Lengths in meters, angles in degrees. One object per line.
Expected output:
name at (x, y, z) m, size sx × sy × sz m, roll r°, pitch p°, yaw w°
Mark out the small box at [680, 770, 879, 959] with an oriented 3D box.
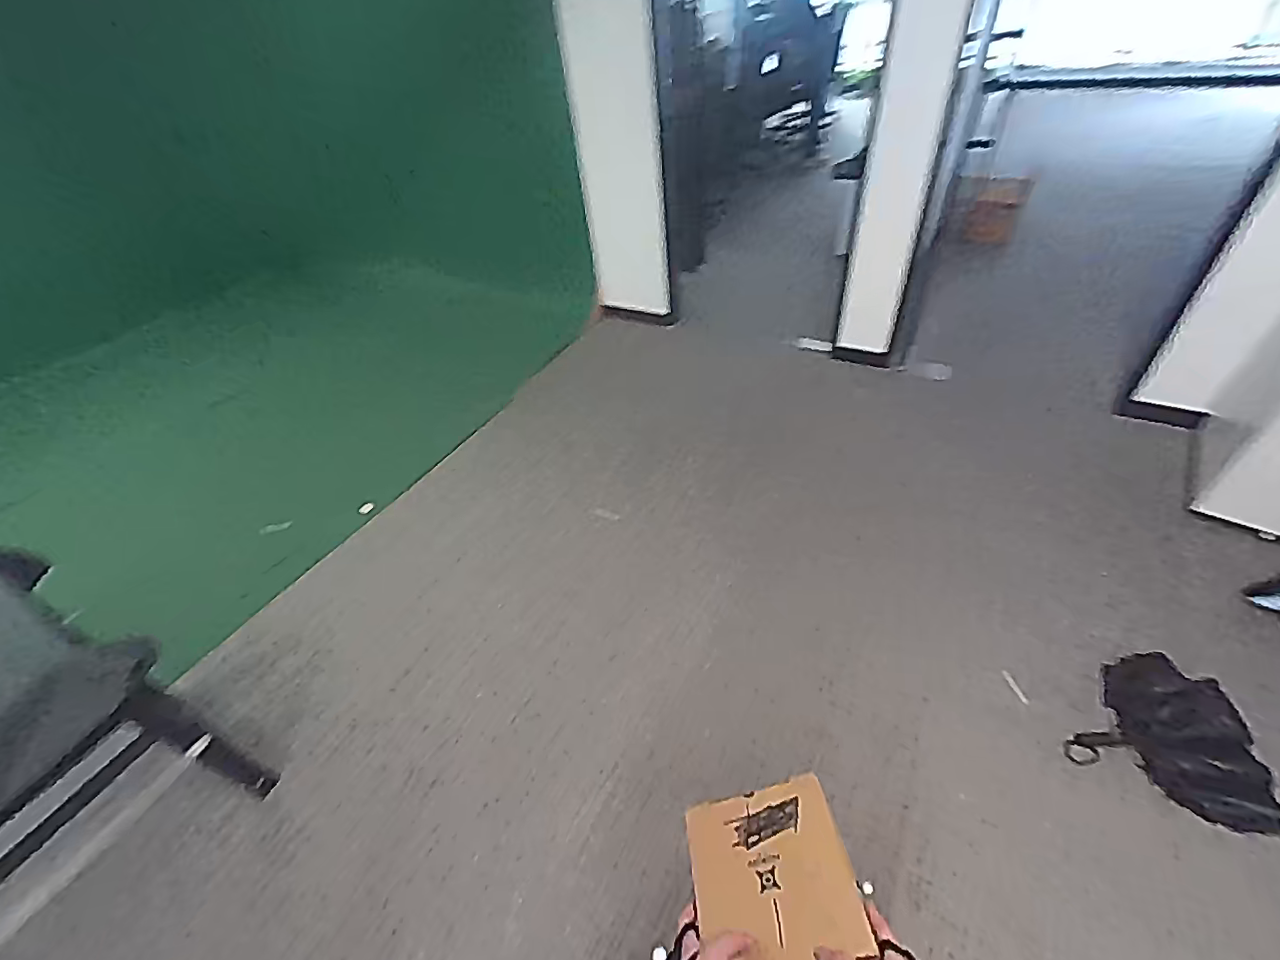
small box at (0.158, 0.481, 0.621) m, size 0.168 × 0.176 × 0.179 m, roll -23°, pitch 27°, yaw 8°
